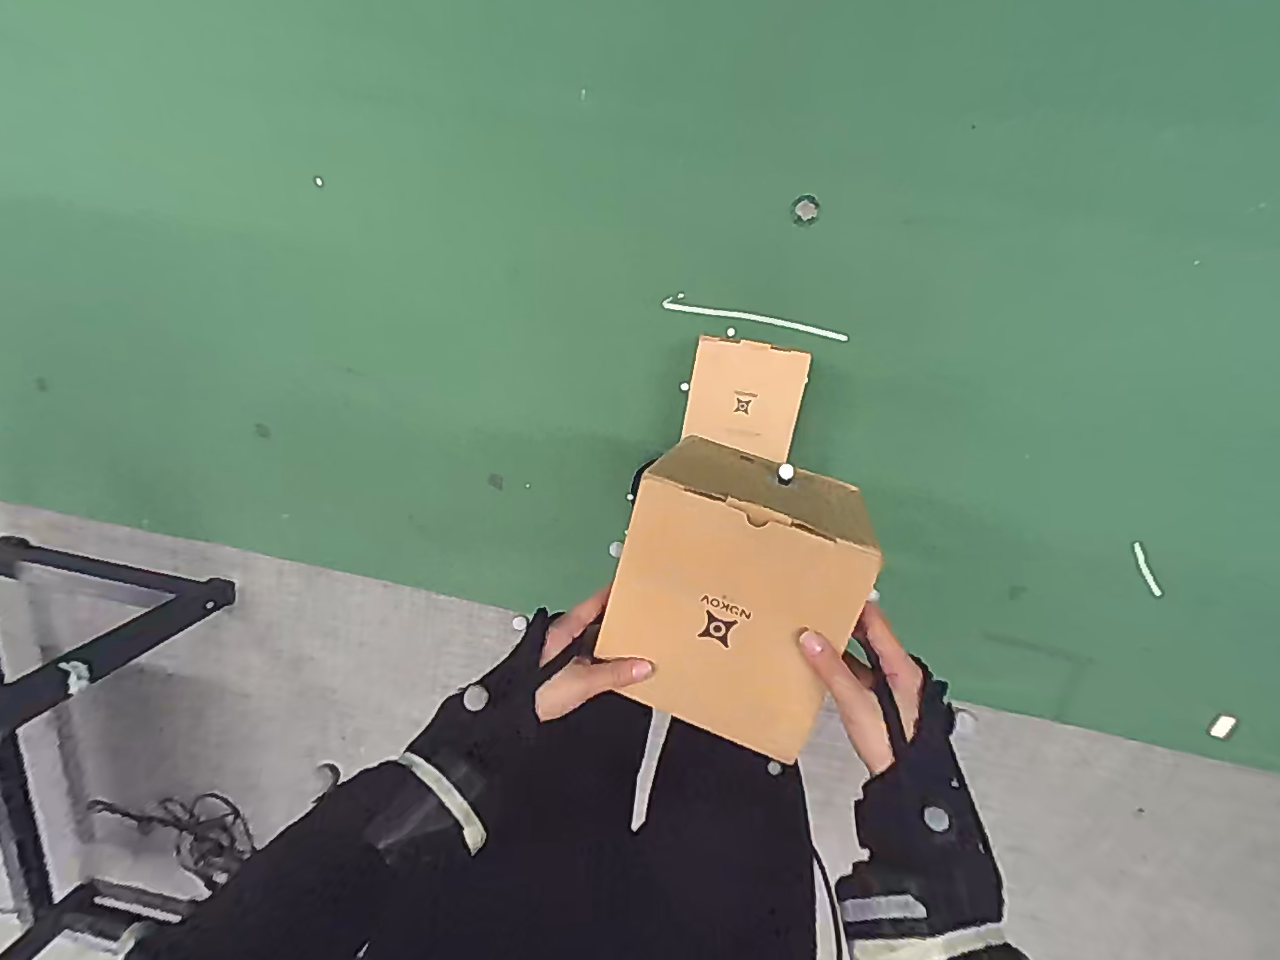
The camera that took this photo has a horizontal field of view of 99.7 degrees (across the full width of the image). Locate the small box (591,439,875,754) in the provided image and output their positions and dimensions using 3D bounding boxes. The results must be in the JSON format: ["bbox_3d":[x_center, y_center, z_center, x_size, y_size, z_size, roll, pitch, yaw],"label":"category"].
[{"bbox_3d":[0.078,0.079,0.461,0.168,0.176,0.179,19,107,11],"label":"small box"}]

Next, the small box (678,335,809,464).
[{"bbox_3d":[0.161,-0.136,0.881,0.168,0.176,0.179,11,108,5],"label":"small box"}]
